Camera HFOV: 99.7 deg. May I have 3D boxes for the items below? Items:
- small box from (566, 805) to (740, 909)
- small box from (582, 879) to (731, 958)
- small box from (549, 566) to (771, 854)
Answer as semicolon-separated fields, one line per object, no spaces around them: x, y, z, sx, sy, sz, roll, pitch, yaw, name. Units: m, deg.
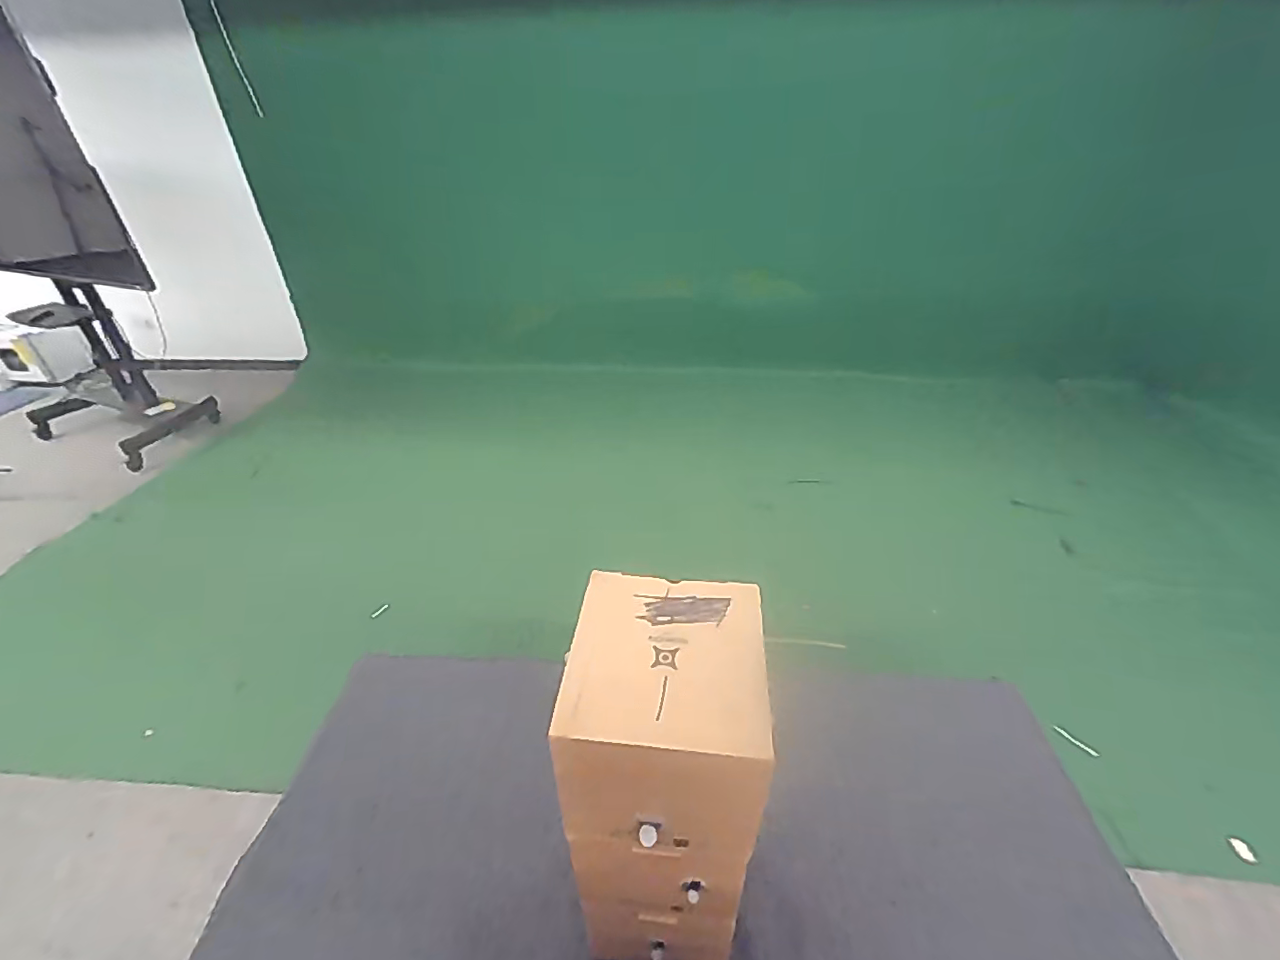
0.023;0.338;0.598;0.168;0.176;0.179;3;34;5;small box
0.030;0.471;0.691;0.168;0.176;0.179;3;35;6;small box
0.023;0.205;0.501;0.168;0.176;0.179;3;36;6;small box
